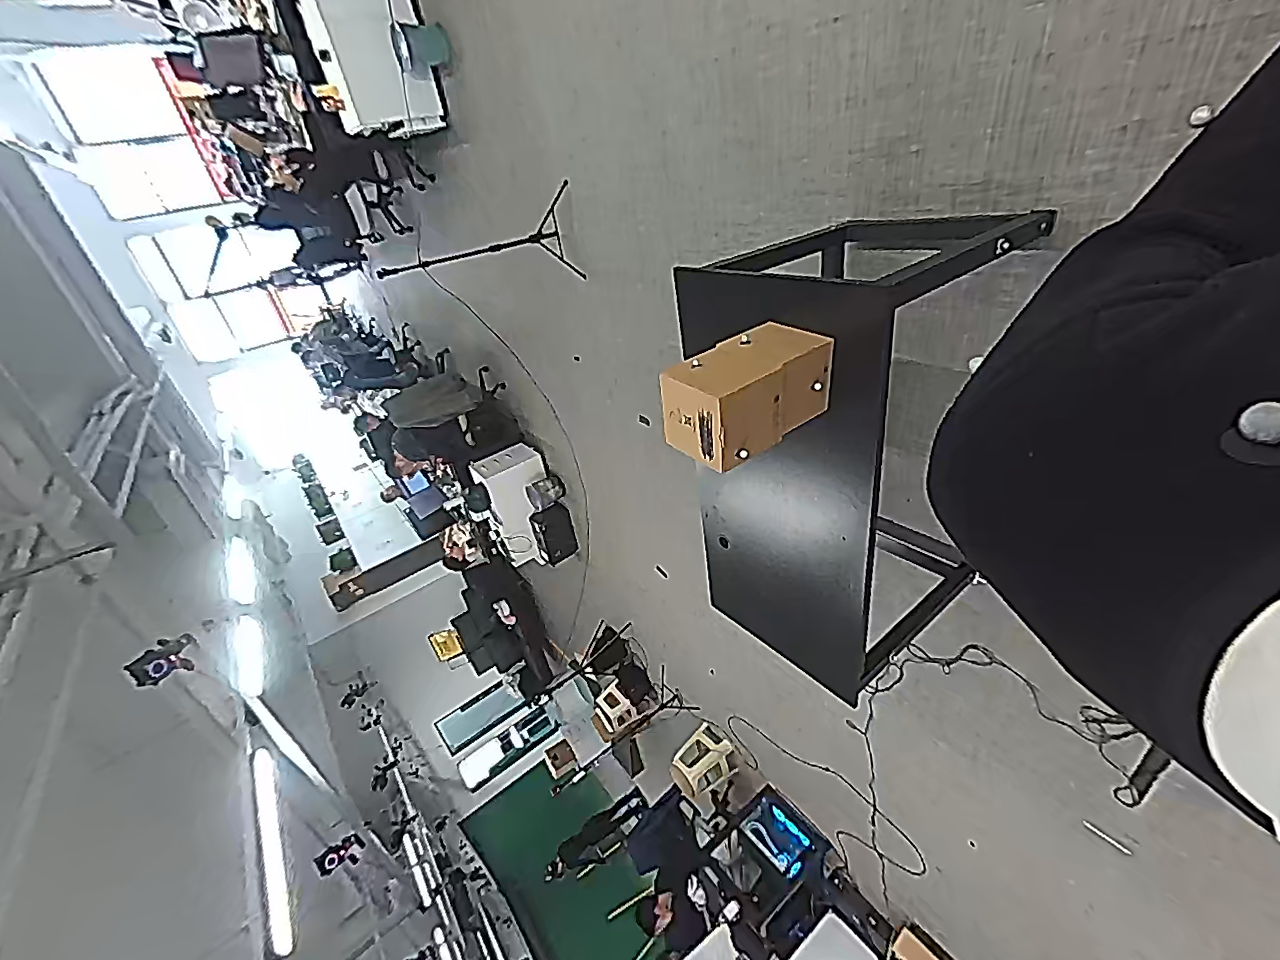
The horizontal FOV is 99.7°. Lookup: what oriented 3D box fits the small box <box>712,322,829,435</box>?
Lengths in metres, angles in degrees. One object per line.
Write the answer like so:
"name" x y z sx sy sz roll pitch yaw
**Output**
"small box" 0.275 -0.225 1.157 0.179 0.176 0.168 34 144 43
